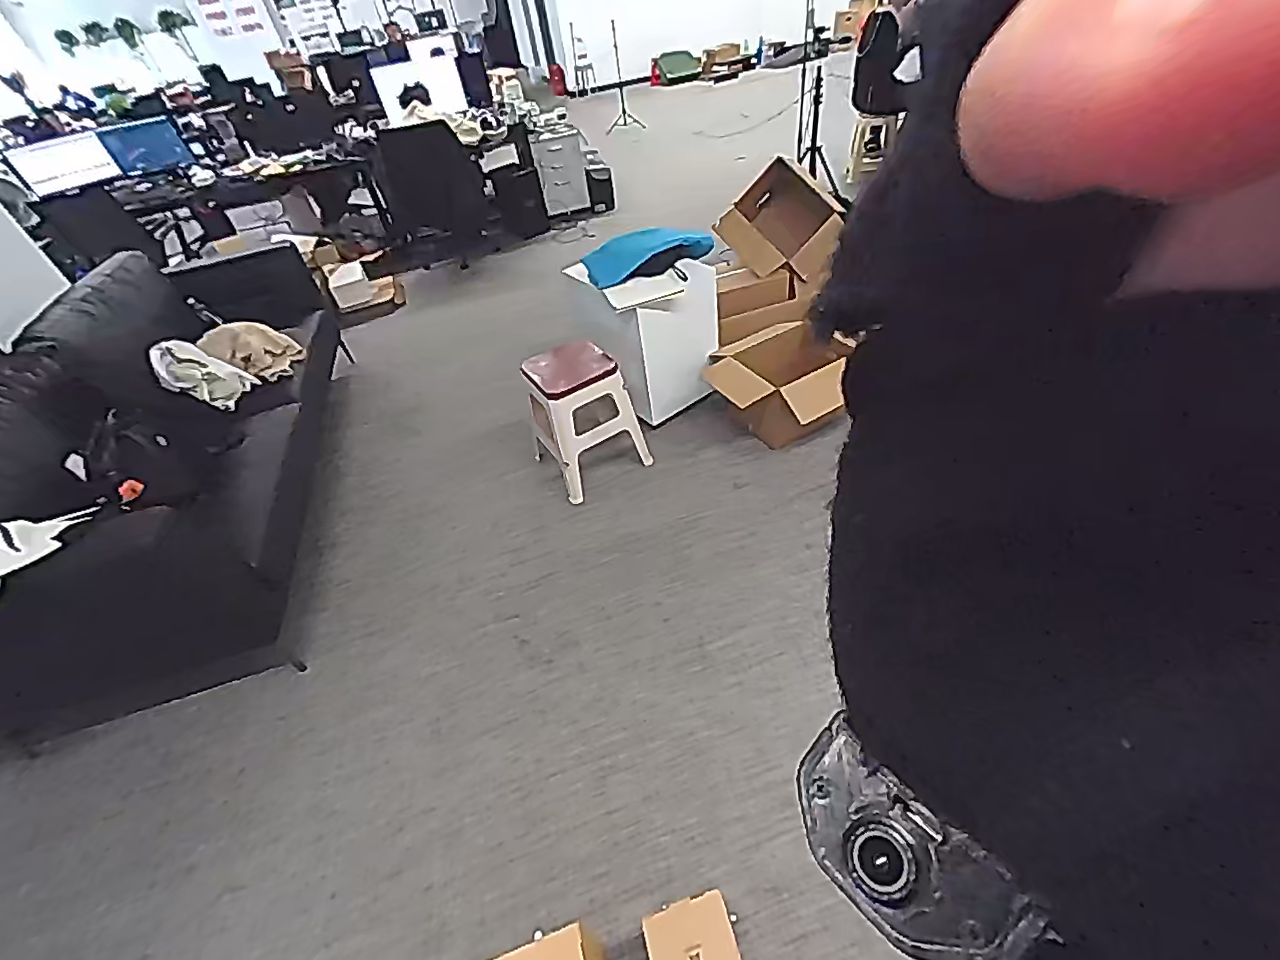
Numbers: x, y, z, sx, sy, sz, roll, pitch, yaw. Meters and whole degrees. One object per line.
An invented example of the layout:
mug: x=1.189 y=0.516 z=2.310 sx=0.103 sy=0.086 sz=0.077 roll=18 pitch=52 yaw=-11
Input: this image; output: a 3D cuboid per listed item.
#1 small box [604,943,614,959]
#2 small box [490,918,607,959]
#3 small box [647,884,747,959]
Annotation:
small box: x=-0.123 y=1.007 z=1.020 sx=0.168 sy=0.176 sz=0.179 roll=-19 pitch=43 yaw=-7
small box: x=-0.143 y=0.887 z=0.913 sx=0.179 sy=0.176 sz=0.168 roll=-19 pitch=44 yaw=-9
small box: x=0.120 y=0.932 z=1.052 sx=0.168 sy=0.176 sz=0.179 roll=-16 pitch=44 yaw=-5
